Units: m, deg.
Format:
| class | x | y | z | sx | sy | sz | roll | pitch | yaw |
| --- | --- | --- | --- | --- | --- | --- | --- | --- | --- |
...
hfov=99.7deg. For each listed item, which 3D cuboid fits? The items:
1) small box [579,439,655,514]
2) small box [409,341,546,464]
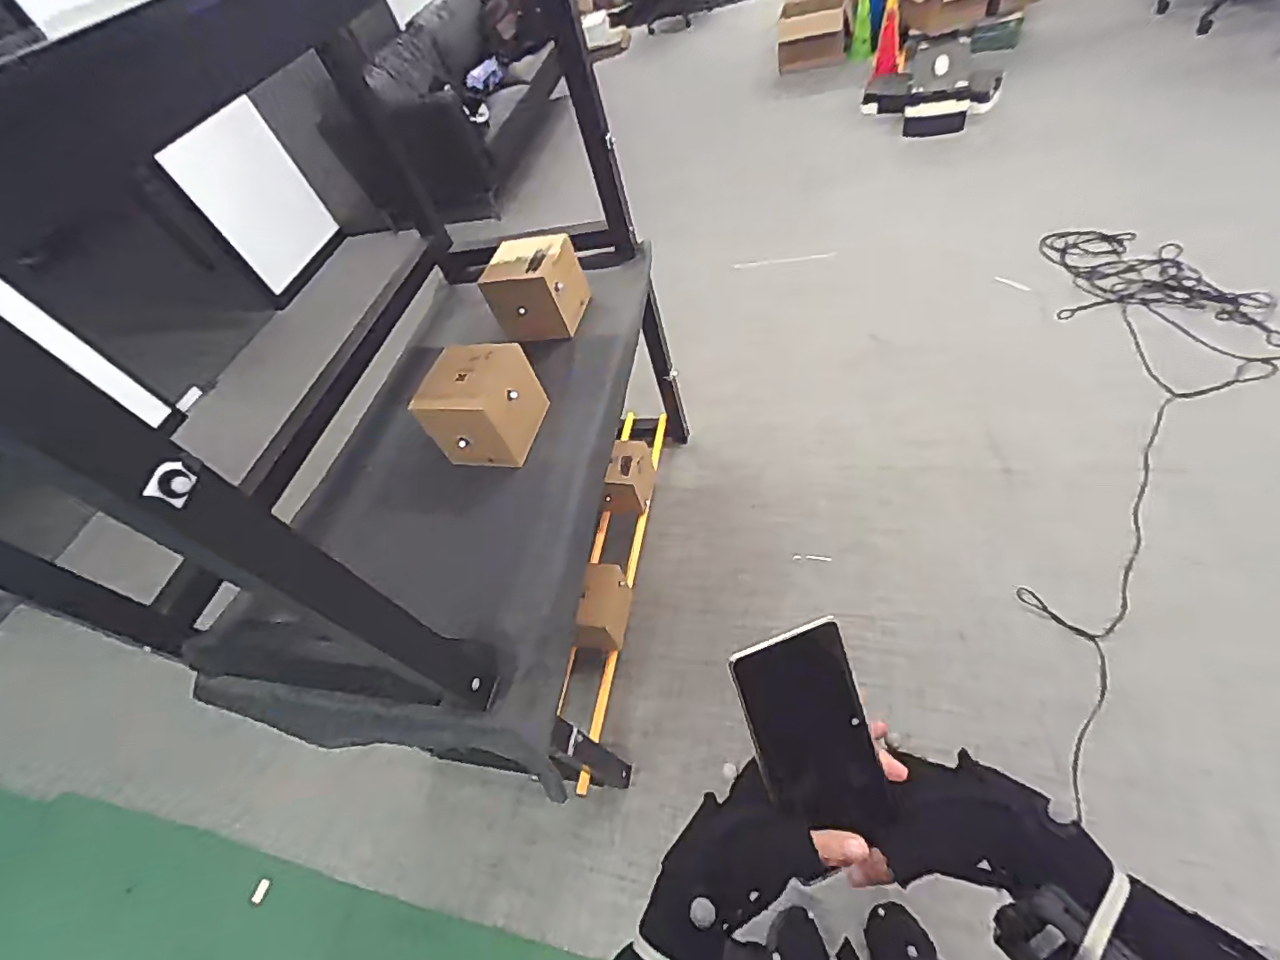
| class | x | y | z | sx | sy | sz | roll | pitch | yaw |
| --- | --- | --- | --- | --- | --- | --- | --- | --- | --- |
| small box | -0.063 | -0.009 | 1.682 | 0.179 | 0.176 | 0.168 | 4 | 55 | 19 |
| small box | -0.304 | -0.148 | 1.054 | 0.168 | 0.176 | 0.179 | 4 | 55 | 19 |
